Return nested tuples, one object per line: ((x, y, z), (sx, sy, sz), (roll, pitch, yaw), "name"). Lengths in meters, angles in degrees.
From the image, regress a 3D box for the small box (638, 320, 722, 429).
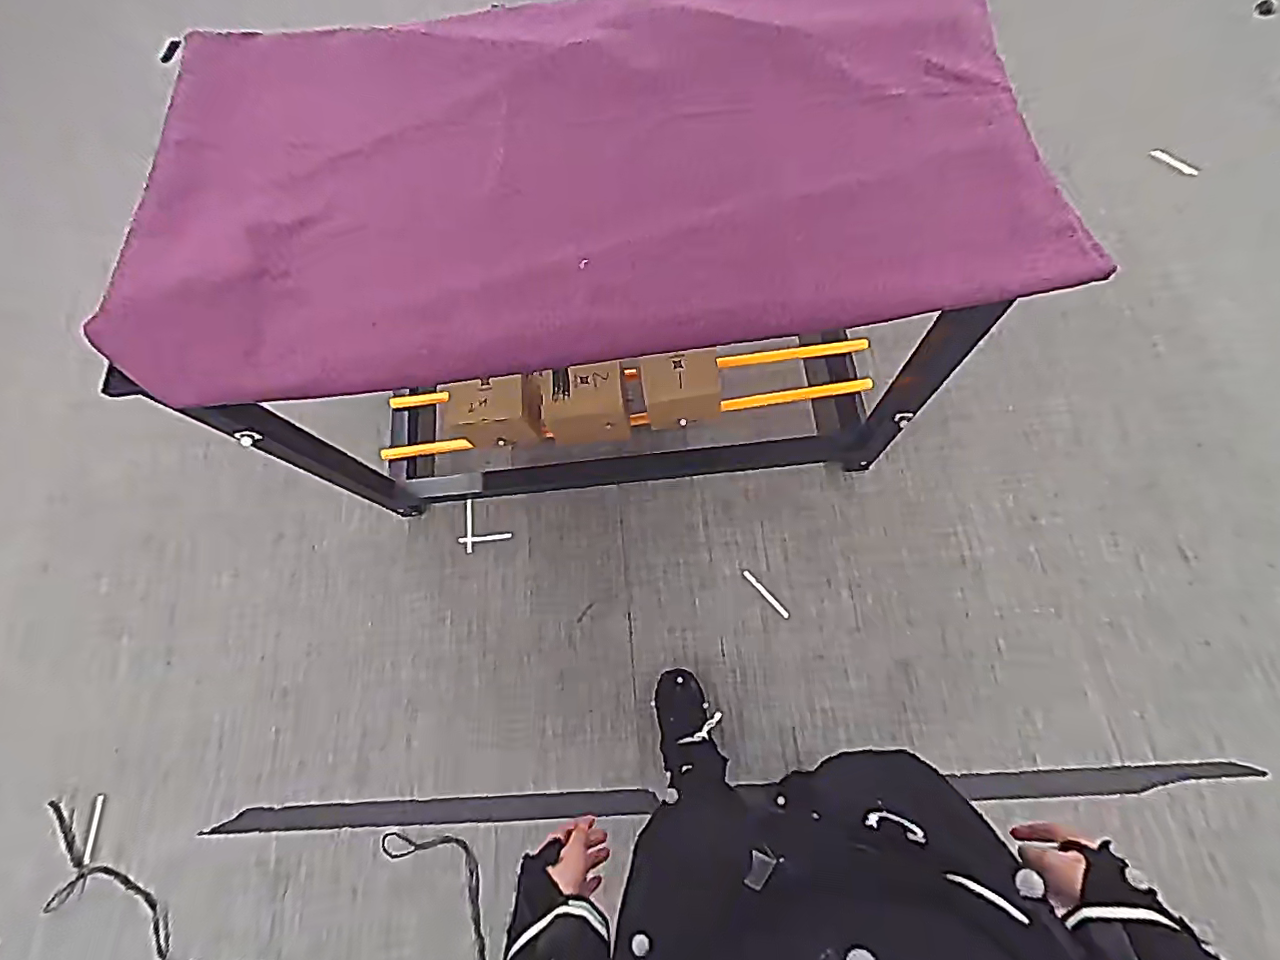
((0.090, -0.234, 1.229), (0.168, 0.176, 0.179), (-8, 75, 5), "small box")

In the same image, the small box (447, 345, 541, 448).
((-0.332, -0.189, 1.256), (0.168, 0.176, 0.179), (-6, 74, 4), "small box")
